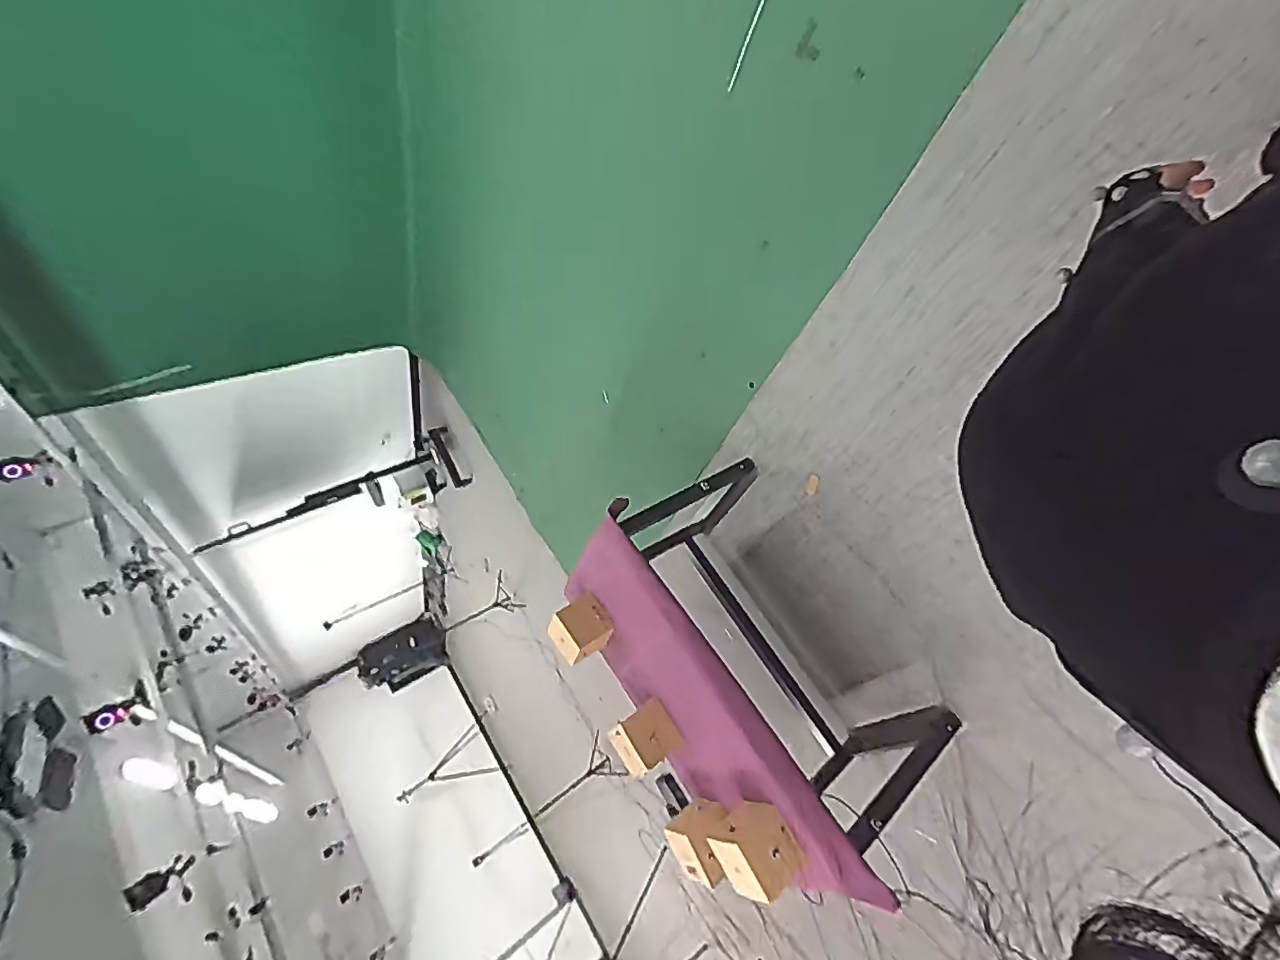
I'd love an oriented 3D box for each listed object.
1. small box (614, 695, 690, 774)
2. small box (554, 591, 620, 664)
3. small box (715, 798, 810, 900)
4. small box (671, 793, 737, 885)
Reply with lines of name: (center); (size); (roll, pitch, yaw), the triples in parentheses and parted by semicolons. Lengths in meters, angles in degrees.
small box: (0.044, 0.886, 1.888); (0.179, 0.176, 0.168); (53, 144, 18)
small box: (-0.196, 0.544, 2.004); (0.168, 0.176, 0.179); (49, 143, 21)
small box: (0.355, 1.038, 1.540); (0.168, 0.176, 0.179); (59, 147, 11)
small box: (0.241, 1.186, 1.800); (0.179, 0.176, 0.168); (62, 146, 8)
